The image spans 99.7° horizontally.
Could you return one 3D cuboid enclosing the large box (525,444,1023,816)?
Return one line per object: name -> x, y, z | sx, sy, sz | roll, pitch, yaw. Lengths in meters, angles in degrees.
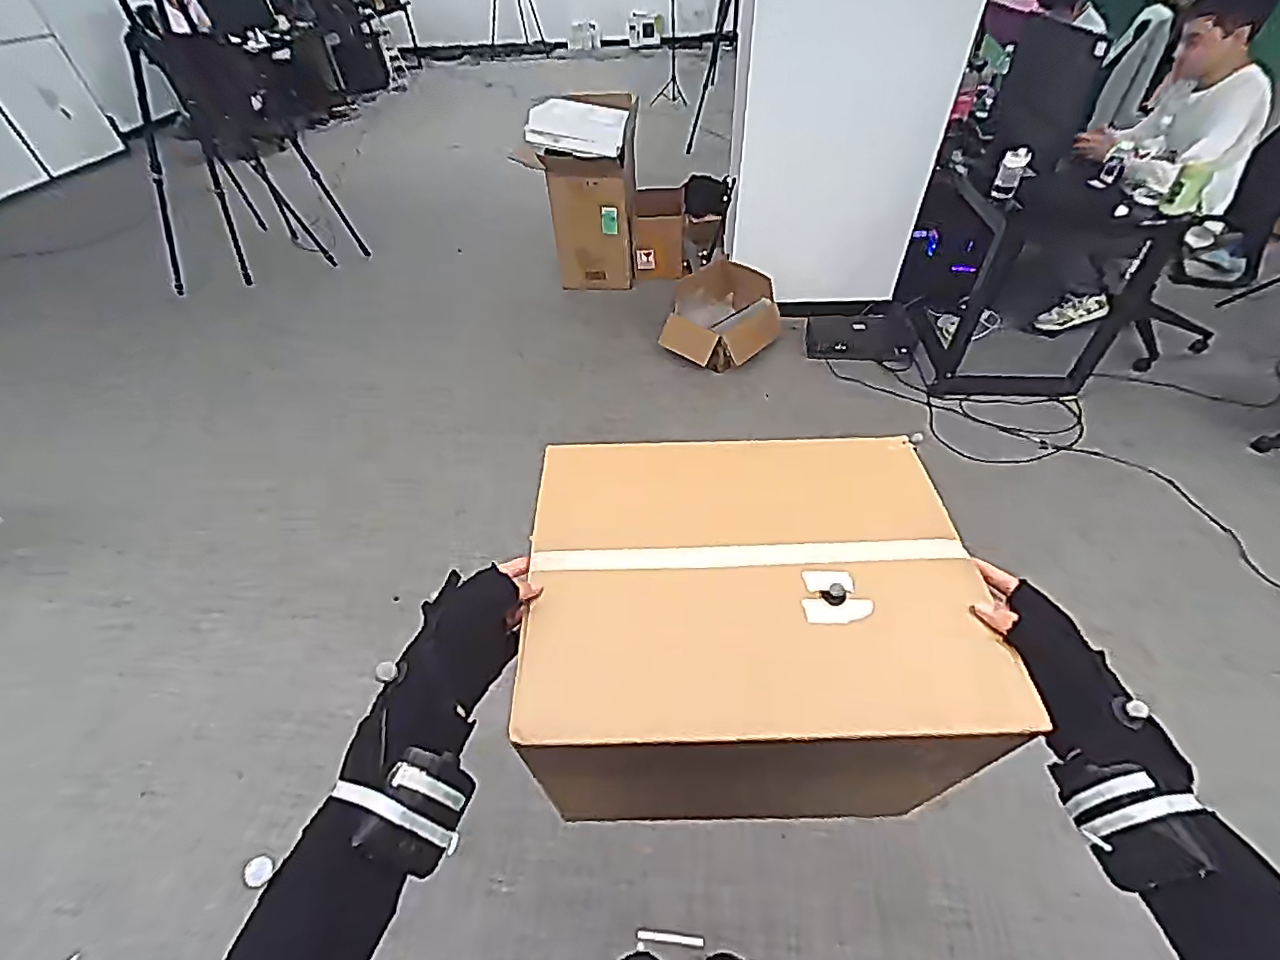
large box -> 0.102, 0.177, 0.630 | 0.408, 0.320, 0.320 | -1, 49, 0
